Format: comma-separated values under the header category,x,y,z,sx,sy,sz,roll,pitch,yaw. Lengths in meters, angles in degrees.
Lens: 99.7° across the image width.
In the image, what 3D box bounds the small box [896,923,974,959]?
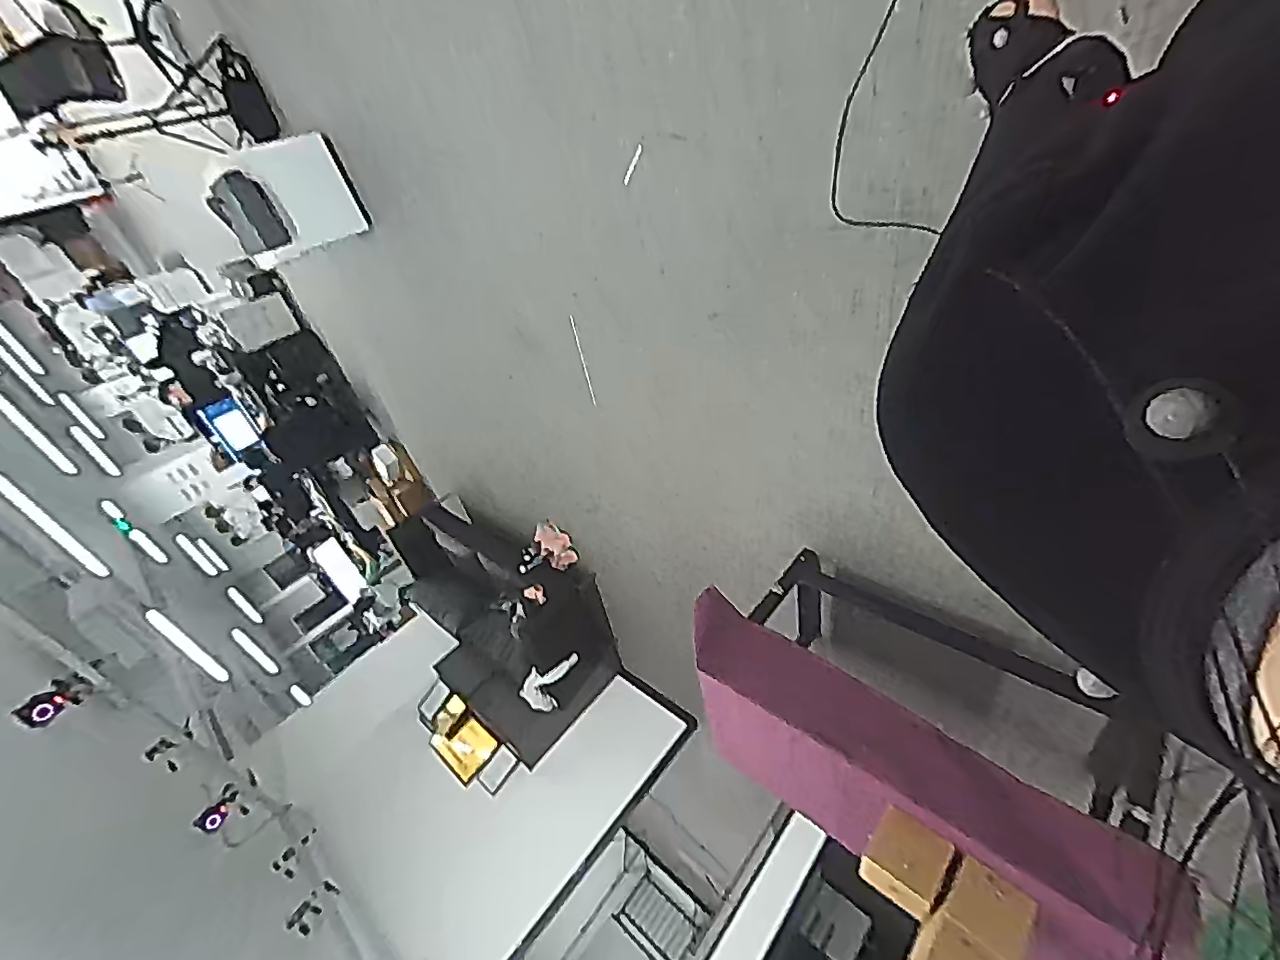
category,x,y,z,sx,sy,sz,roll,pitch,yaw
small box,0.717,1.216,1.299,0.168,0.176,0.179,30,142,30
